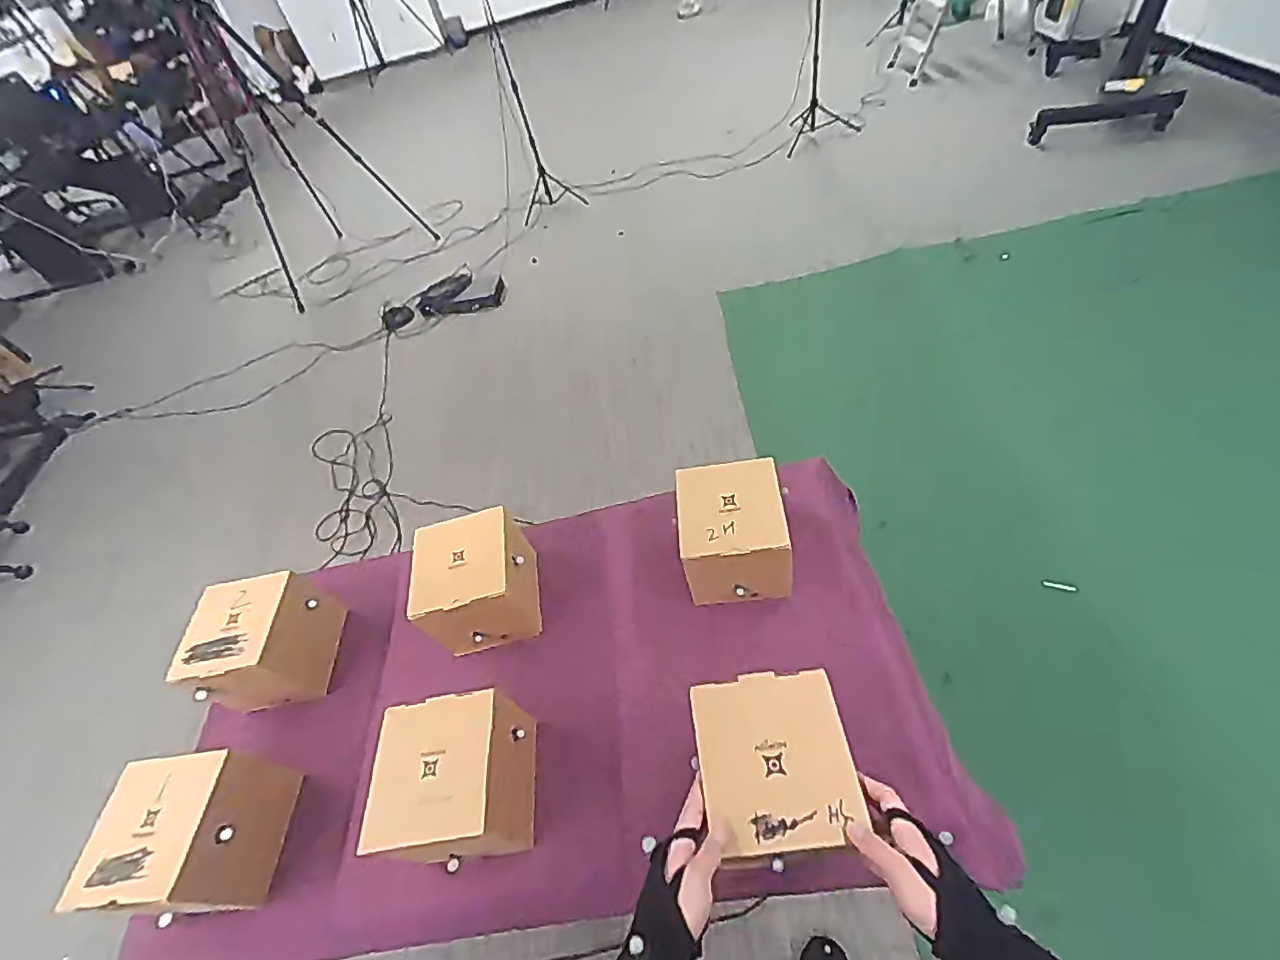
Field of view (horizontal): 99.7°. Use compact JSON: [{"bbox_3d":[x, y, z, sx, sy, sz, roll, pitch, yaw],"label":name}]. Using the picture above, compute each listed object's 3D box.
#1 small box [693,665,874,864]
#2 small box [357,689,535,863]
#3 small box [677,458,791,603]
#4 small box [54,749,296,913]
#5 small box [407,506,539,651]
[{"bbox_3d":[0.160,0.349,0.659,0.168,0.176,0.179,-9,50,4],"label":"small box"},{"bbox_3d":[-0.255,0.418,0.759,0.168,0.176,0.179,-12,50,6],"label":"small box"},{"bbox_3d":[0.157,0.088,0.912,0.168,0.176,0.179,-8,52,9],"label":"small box"},{"bbox_3d":[-0.644,0.509,0.780,0.168,0.176,0.179,-9,50,6],"label":"small box"},{"bbox_3d":[-0.285,0.177,0.956,0.168,0.176,0.179,-15,52,2],"label":"small box"}]
